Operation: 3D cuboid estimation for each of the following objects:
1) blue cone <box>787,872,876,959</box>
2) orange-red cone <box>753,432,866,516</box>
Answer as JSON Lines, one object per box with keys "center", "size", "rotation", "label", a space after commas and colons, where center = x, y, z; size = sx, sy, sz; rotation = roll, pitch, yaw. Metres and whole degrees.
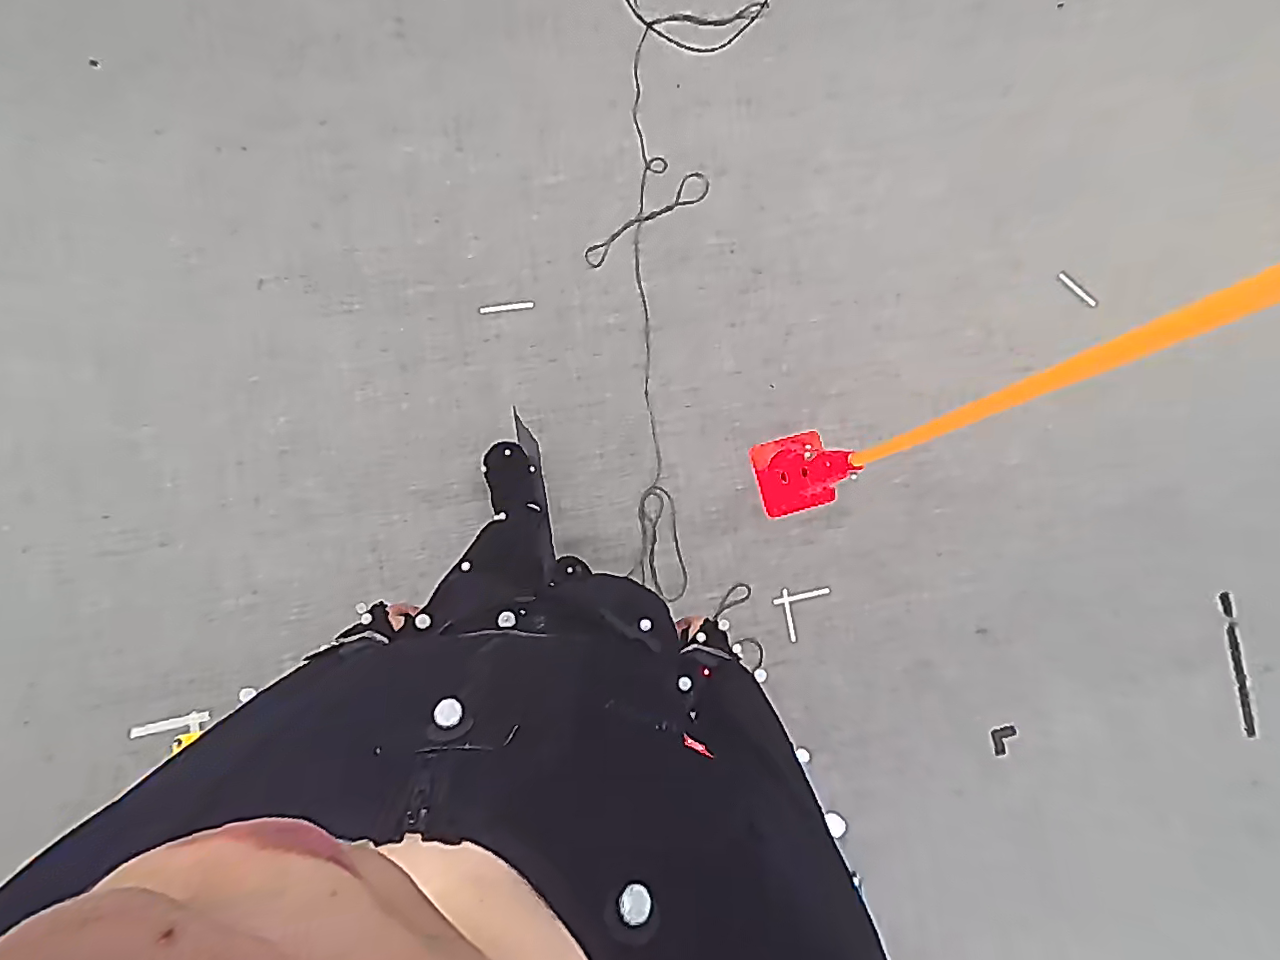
{"center": [0.482, 1.078, 1.185], "size": [0.193, 0.380, 0.192], "rotation": [-6, 86, -6], "label": "blue cone"}
{"center": [0.420, -0.030, 1.249], "size": [0.199, 0.360, 0.198], "rotation": [-14, 87, -5], "label": "orange-red cone"}
